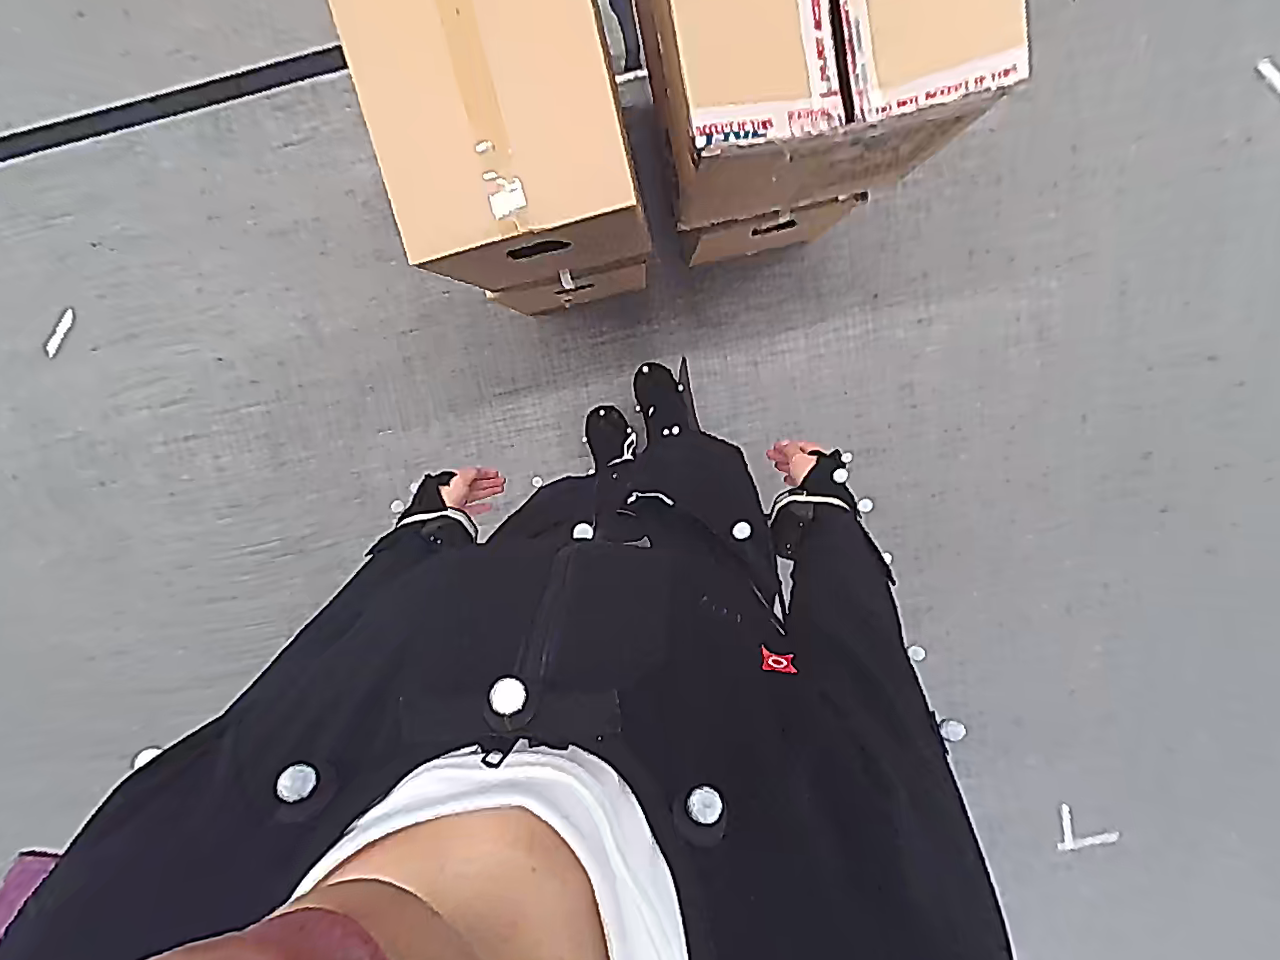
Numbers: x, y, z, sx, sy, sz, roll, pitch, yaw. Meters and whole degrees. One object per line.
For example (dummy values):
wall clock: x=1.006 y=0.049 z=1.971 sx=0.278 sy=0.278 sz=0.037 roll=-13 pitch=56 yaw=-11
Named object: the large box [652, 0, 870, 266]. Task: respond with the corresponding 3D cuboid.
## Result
large box: x=0.221 y=-0.698 z=1.092 sx=0.320 sy=0.320 sz=0.408 roll=-13 pitch=101 yaw=3
